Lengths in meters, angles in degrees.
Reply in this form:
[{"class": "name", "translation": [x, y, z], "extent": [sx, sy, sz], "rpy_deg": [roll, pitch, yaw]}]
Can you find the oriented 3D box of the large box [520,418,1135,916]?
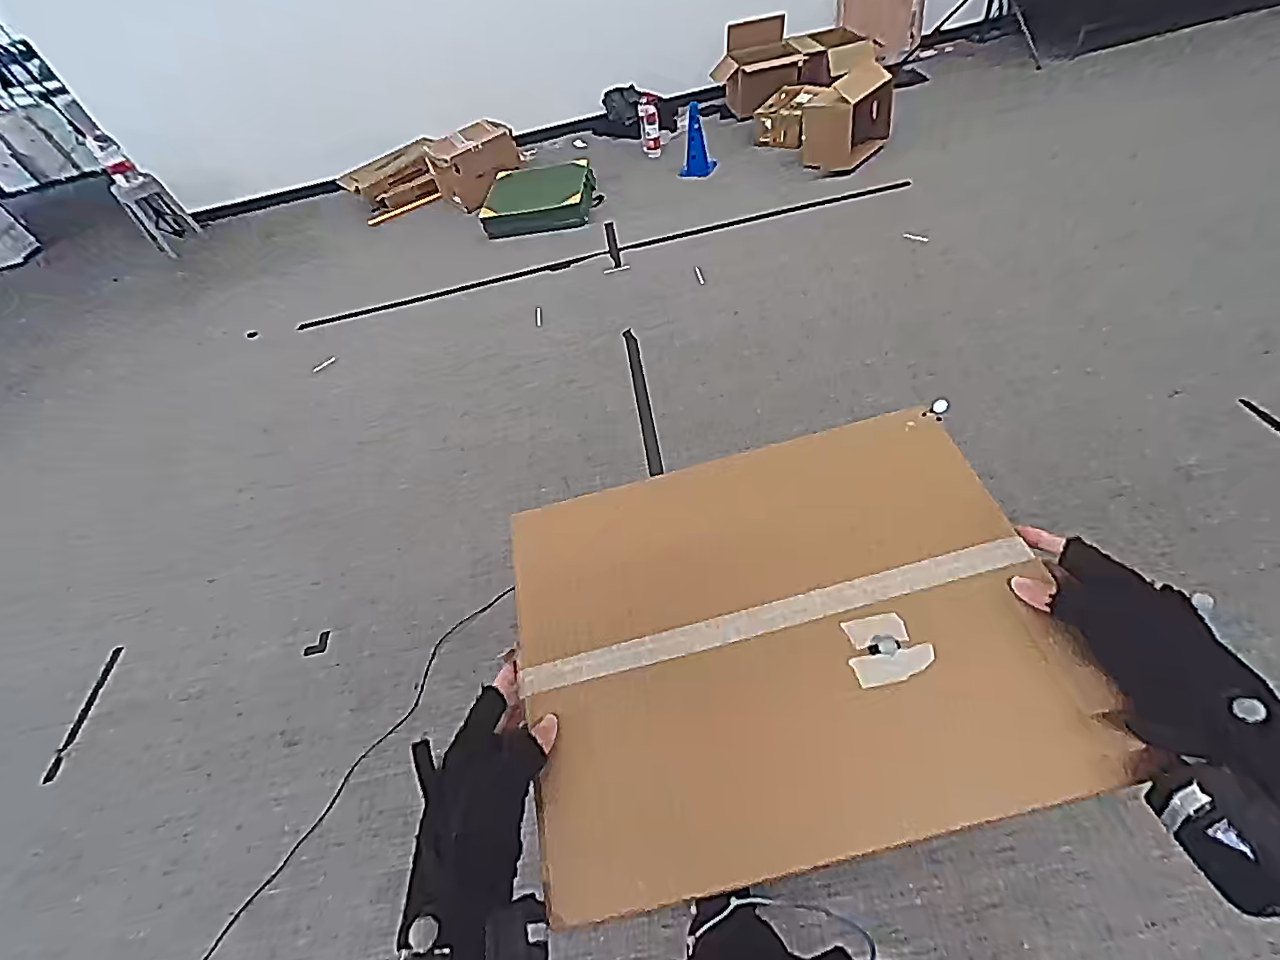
[{"class": "large box", "translation": [0.127, 0.195, 0.561], "extent": [0.408, 0.320, 0.320], "rpy_deg": [-15, 56, 1]}]
